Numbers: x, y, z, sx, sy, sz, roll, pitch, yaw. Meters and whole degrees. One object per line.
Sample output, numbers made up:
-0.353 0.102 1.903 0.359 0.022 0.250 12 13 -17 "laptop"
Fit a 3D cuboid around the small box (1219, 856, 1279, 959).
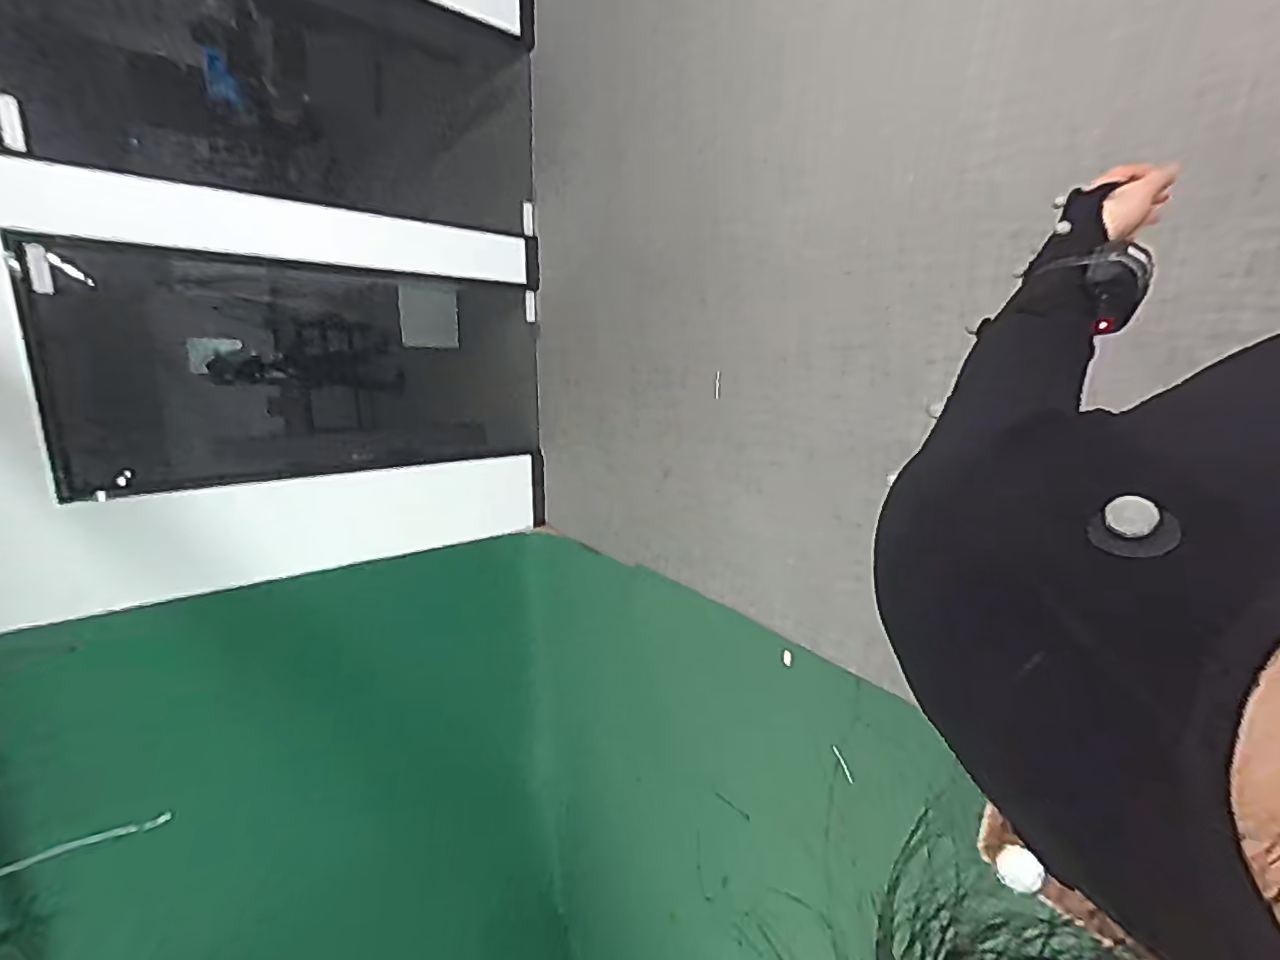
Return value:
1.158 0.810 0.936 0.179 0.176 0.168 21 112 48 "small box"
